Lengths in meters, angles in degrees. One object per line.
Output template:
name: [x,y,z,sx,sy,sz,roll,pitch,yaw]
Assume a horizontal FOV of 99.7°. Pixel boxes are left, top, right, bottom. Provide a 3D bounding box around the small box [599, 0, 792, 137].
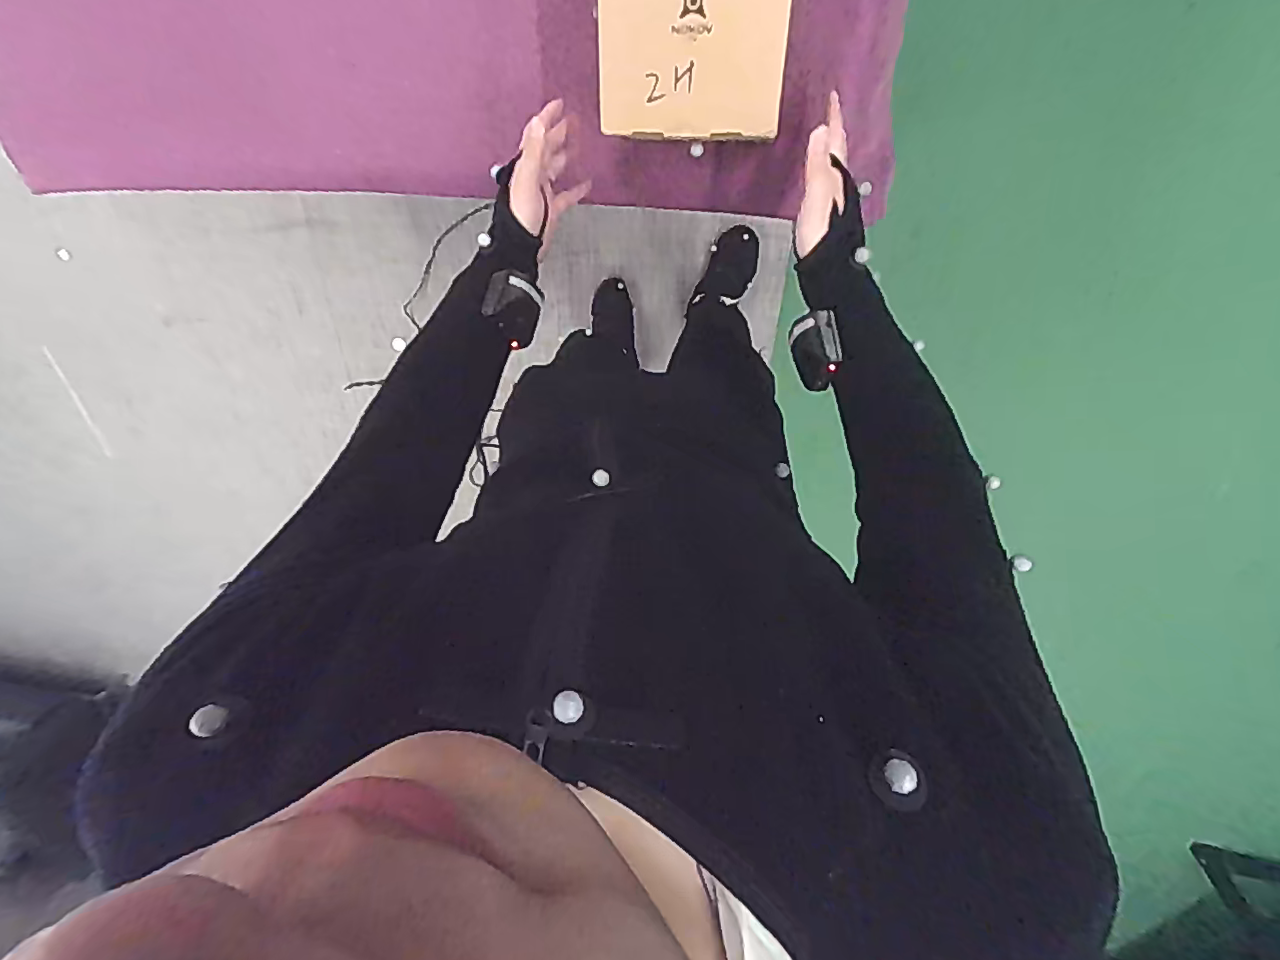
small box: [0.059,-0.441,0.524,0.168,0.176,0.179,7,122,9]
